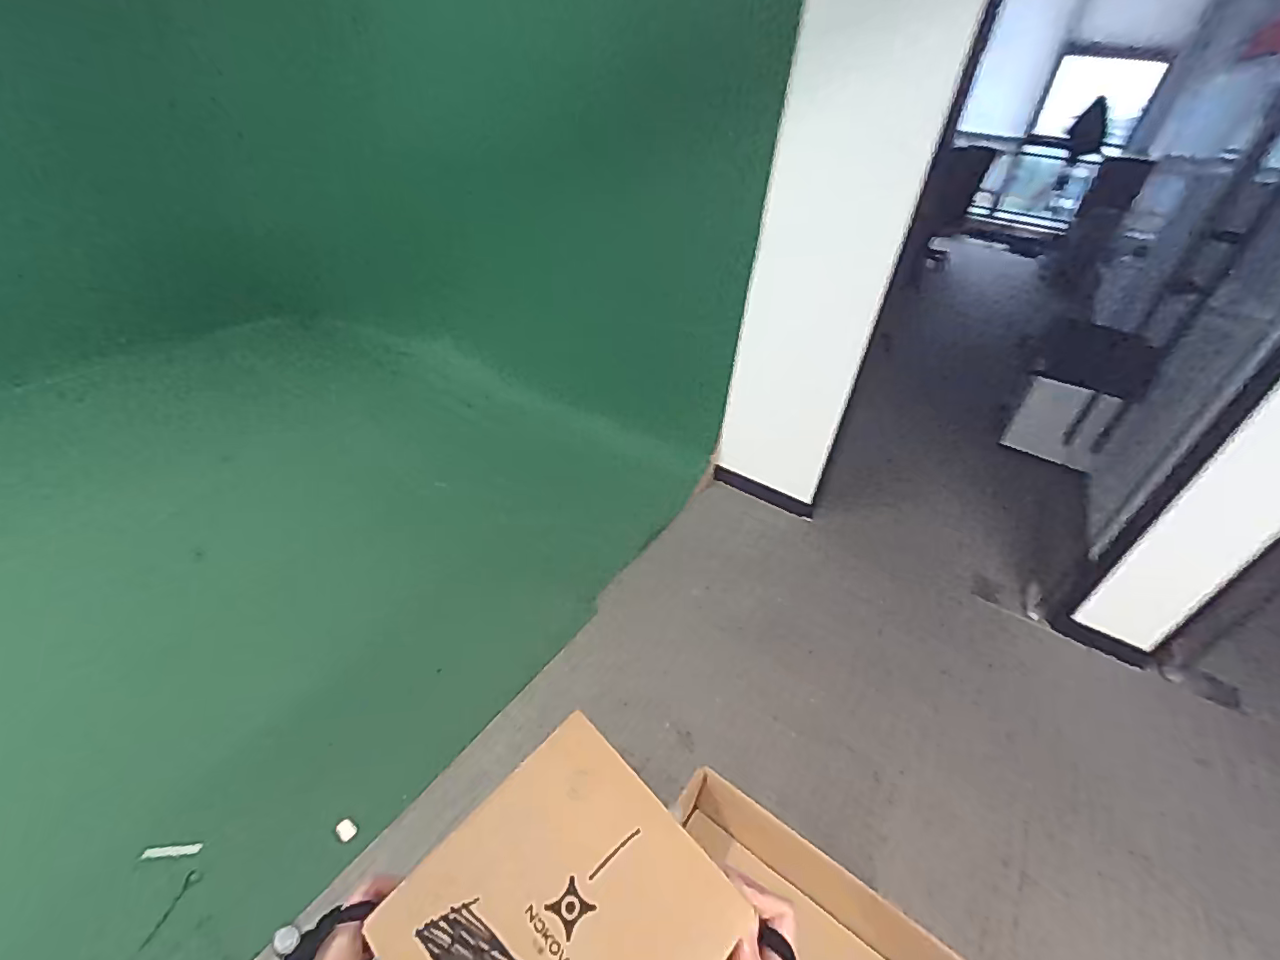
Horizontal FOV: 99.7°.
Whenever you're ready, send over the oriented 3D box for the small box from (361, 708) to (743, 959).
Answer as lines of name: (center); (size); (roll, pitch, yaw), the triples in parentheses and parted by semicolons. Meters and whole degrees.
small box: (-0.049, 0.306, 0.386); (0.168, 0.176, 0.179); (38, 63, 26)
